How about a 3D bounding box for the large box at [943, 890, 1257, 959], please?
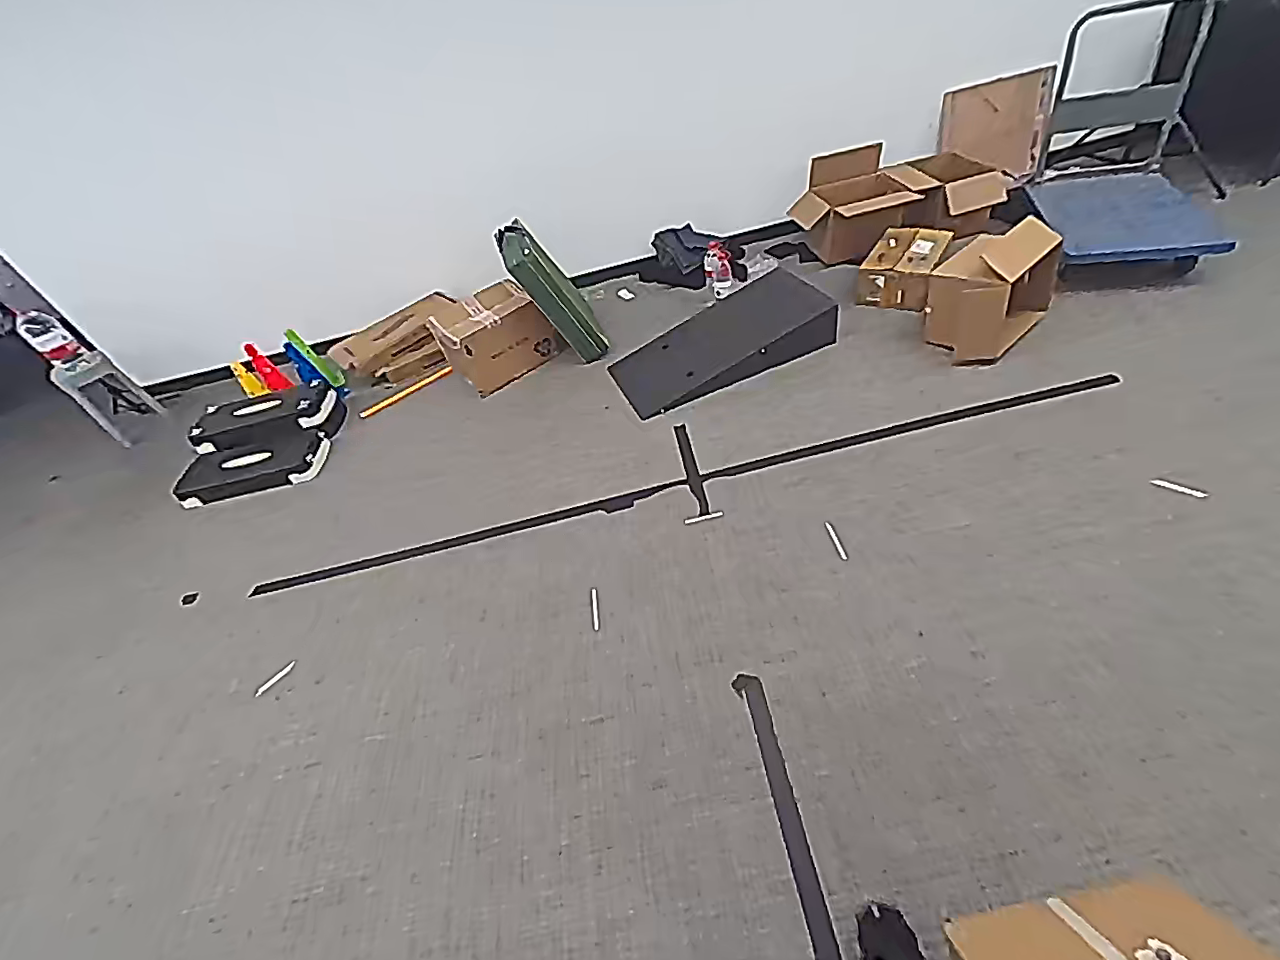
[{"bbox_3d":[0.602,0.727,0.546,0.320,0.408,0.320,-12,81,1],"label":"large box"}]
